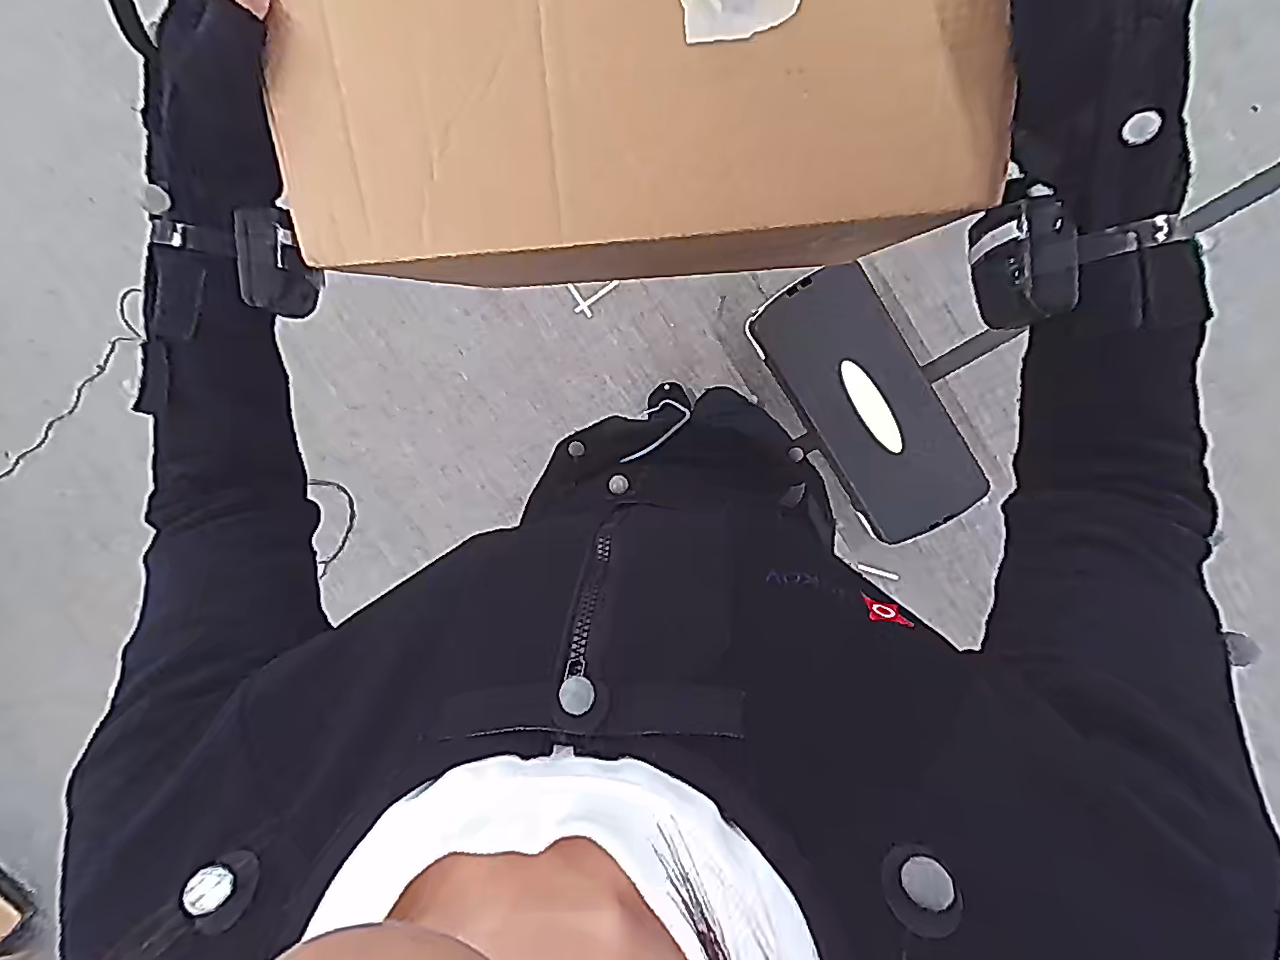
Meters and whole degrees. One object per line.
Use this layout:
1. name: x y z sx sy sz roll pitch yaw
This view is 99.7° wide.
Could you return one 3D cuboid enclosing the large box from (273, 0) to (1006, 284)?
1. large box: 0.000 -0.343 0.423 0.408 0.320 0.320 -3 107 7
